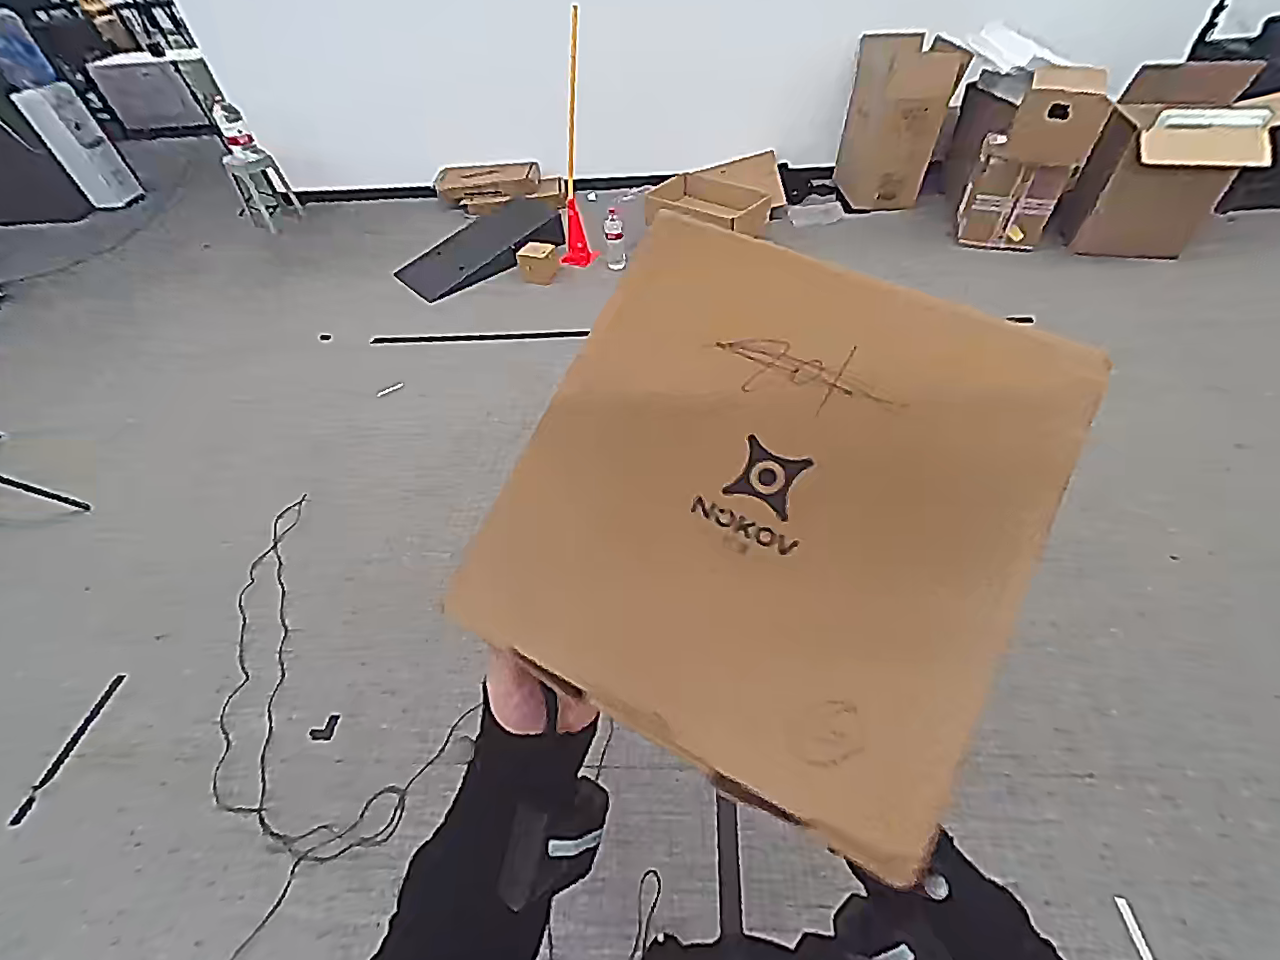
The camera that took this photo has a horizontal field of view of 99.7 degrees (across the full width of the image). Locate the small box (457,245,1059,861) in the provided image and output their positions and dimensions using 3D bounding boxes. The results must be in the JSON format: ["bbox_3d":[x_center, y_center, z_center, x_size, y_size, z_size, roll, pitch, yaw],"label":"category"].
[{"bbox_3d":[0.051,0.028,0.269,0.168,0.176,0.179,22,79,13],"label":"small box"}]
